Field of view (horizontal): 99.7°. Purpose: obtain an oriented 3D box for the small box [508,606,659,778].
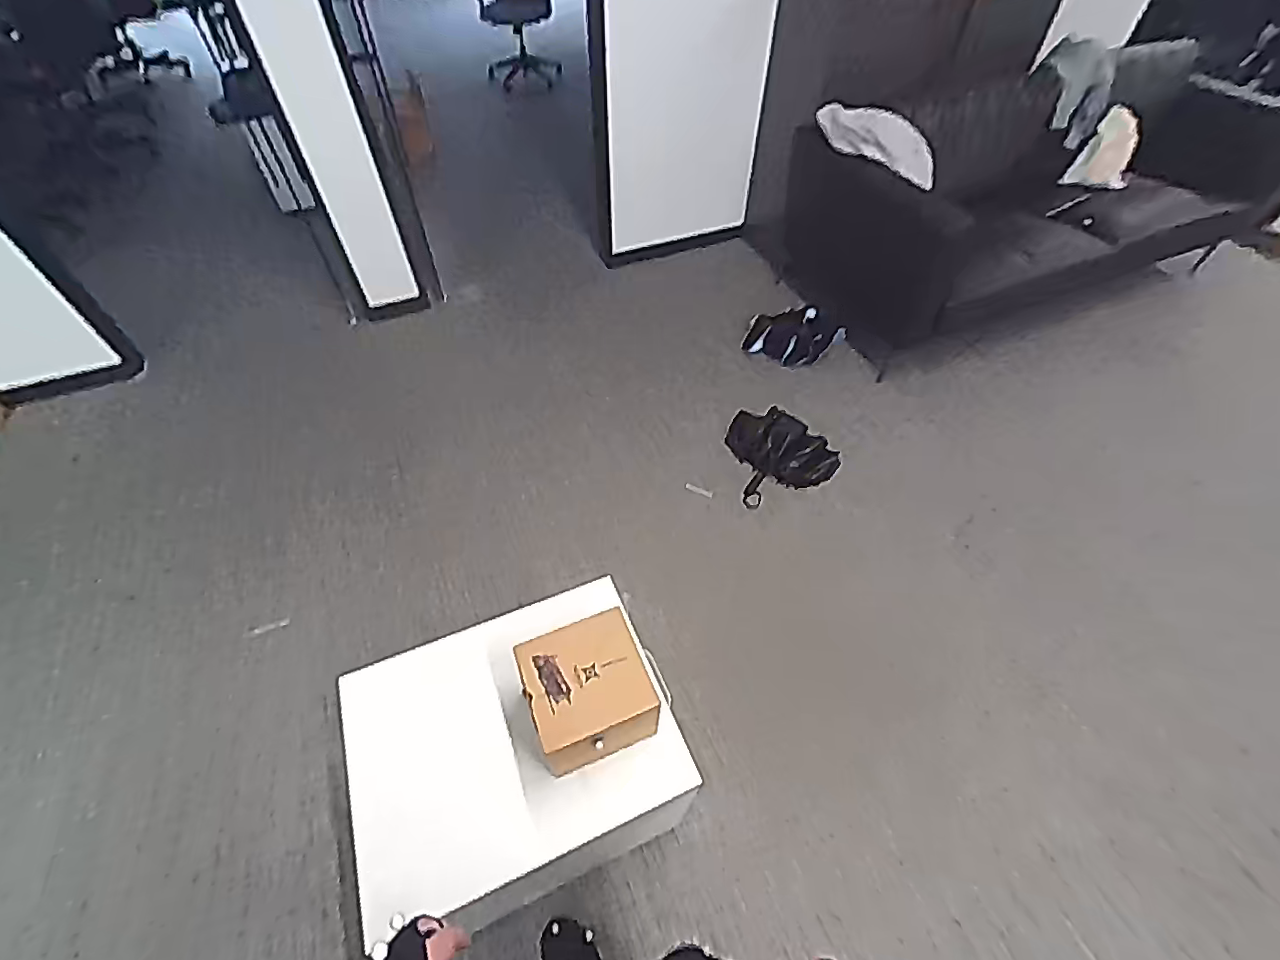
[{"bbox_3d":[-0.086,0.327,0.827,0.179,0.176,0.168,-17,54,-18],"label":"small box"}]
